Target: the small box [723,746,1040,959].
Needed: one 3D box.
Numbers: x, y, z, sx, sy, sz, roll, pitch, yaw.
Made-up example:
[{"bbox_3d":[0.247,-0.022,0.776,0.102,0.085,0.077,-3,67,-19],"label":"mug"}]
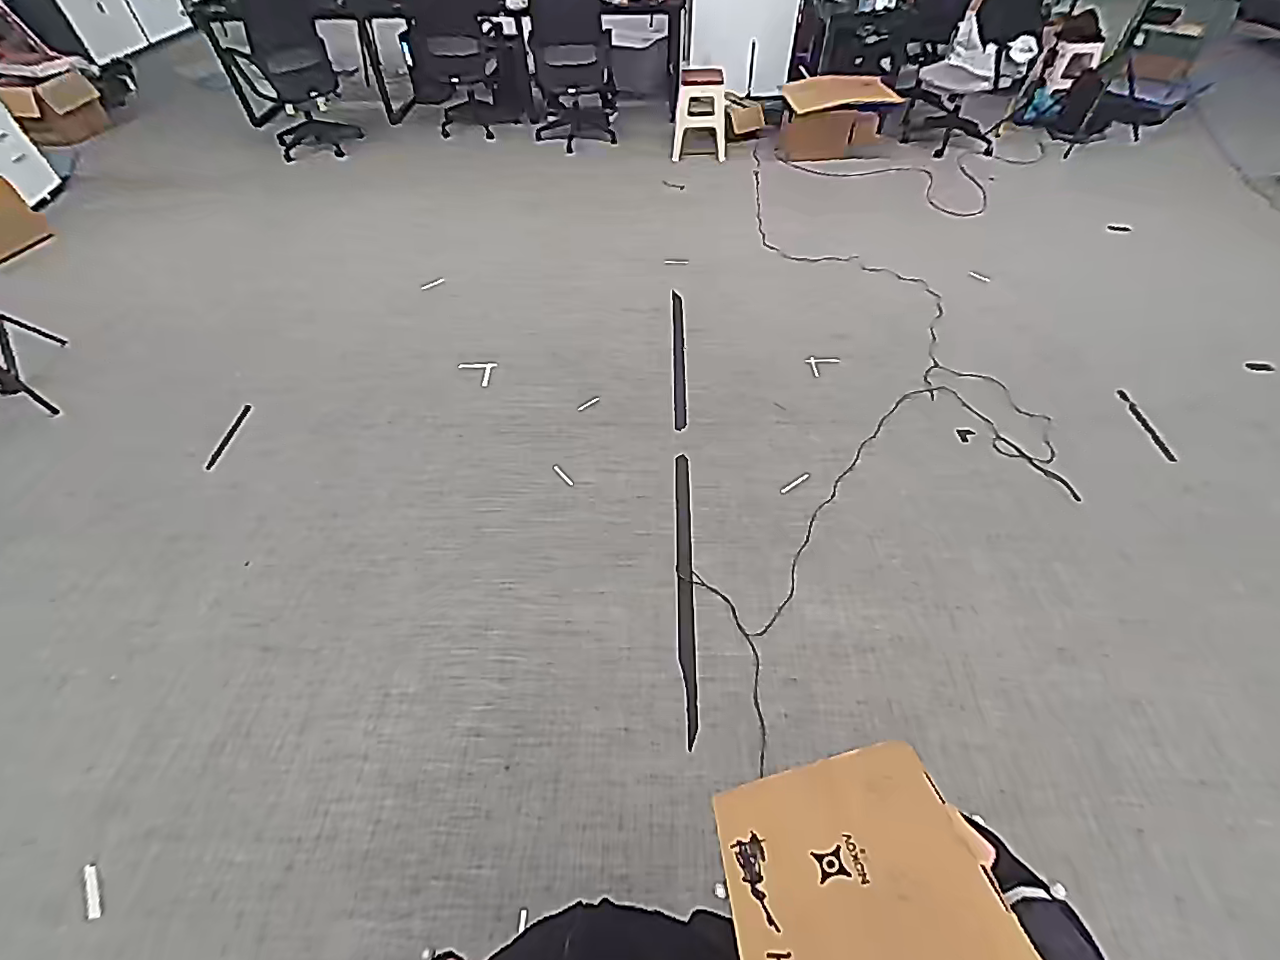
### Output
[{"bbox_3d":[0.180,0.355,0.427,0.179,0.176,0.168,-18,19,6],"label":"small box"}]
